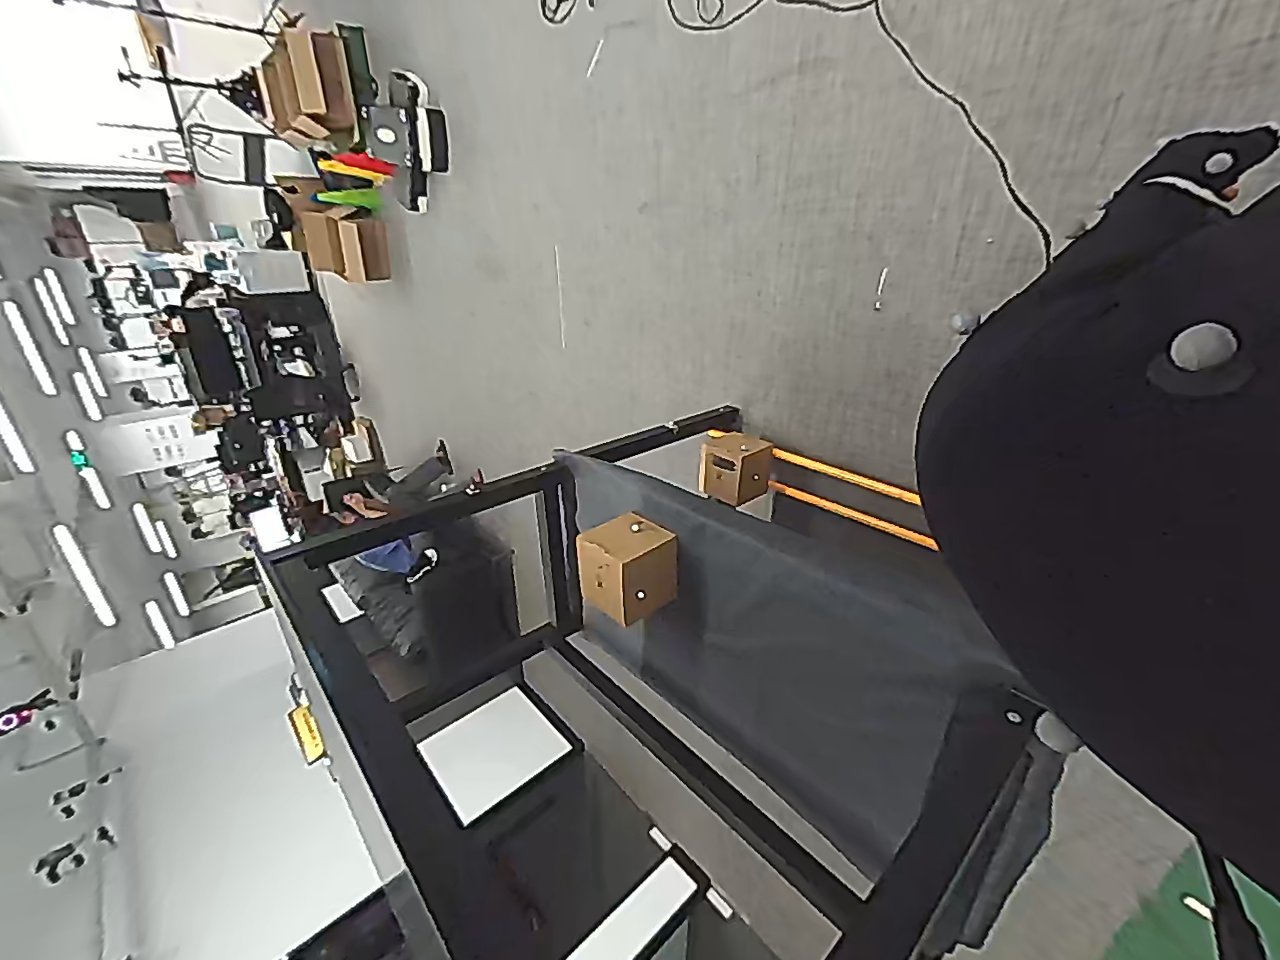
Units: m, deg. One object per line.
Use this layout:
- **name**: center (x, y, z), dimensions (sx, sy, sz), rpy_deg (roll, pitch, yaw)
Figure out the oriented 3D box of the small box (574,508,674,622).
- **small box**: center (-0.033, 0.190, 1.263), dimensions (0.168, 0.176, 0.179), rpy_deg (23, 125, 42)
